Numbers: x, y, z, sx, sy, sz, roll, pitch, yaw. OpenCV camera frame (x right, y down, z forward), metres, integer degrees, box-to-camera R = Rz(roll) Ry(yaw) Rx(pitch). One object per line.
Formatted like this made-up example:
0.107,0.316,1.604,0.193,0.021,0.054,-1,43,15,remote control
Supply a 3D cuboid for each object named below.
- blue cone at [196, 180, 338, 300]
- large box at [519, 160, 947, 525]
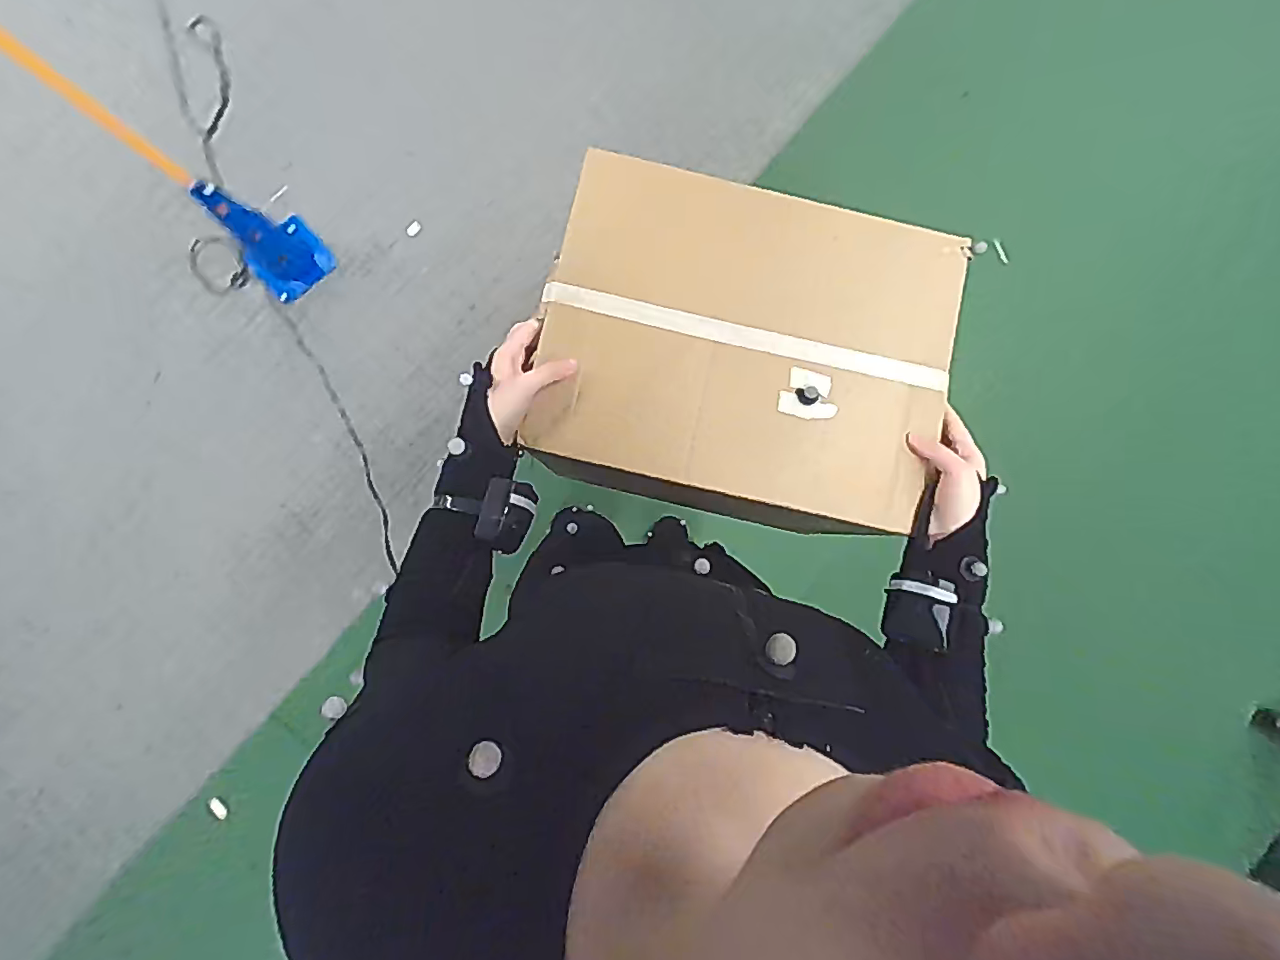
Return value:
-0.982,-0.645,1.385,0.193,0.380,0.192,-39,88,-3,blue cone
0.092,-0.130,0.691,0.408,0.320,0.320,12,85,-2,large box
